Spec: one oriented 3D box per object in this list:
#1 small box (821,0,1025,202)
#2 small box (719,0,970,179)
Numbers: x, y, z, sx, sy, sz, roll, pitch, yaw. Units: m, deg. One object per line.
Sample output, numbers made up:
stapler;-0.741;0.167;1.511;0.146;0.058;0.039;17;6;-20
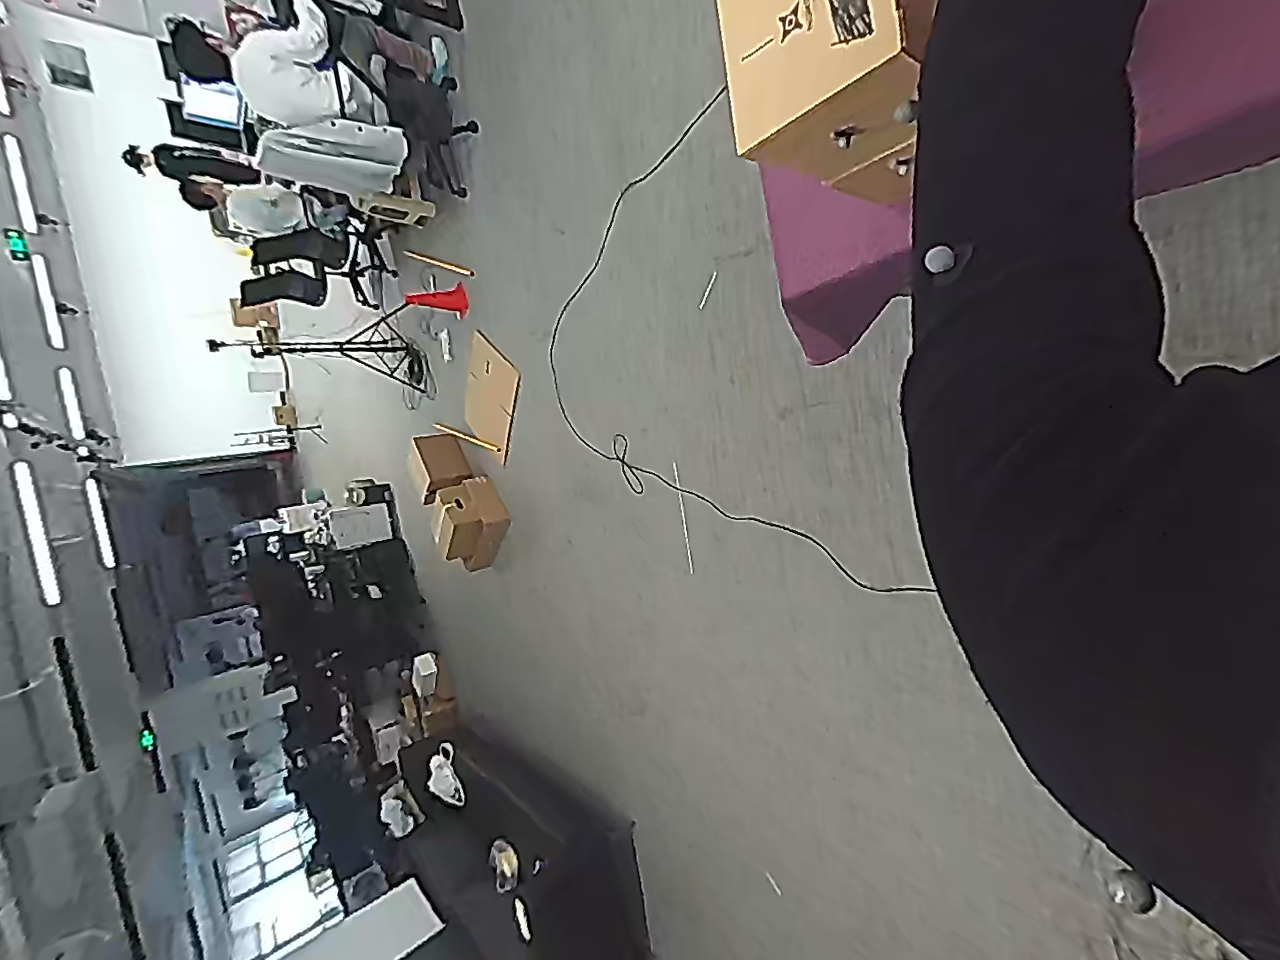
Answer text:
small box;0.332;-0.460;0.652;0.179;0.176;0.168;-3;98;50
small box;0.210;-0.435;0.546;0.179;0.176;0.168;-4;97;52
